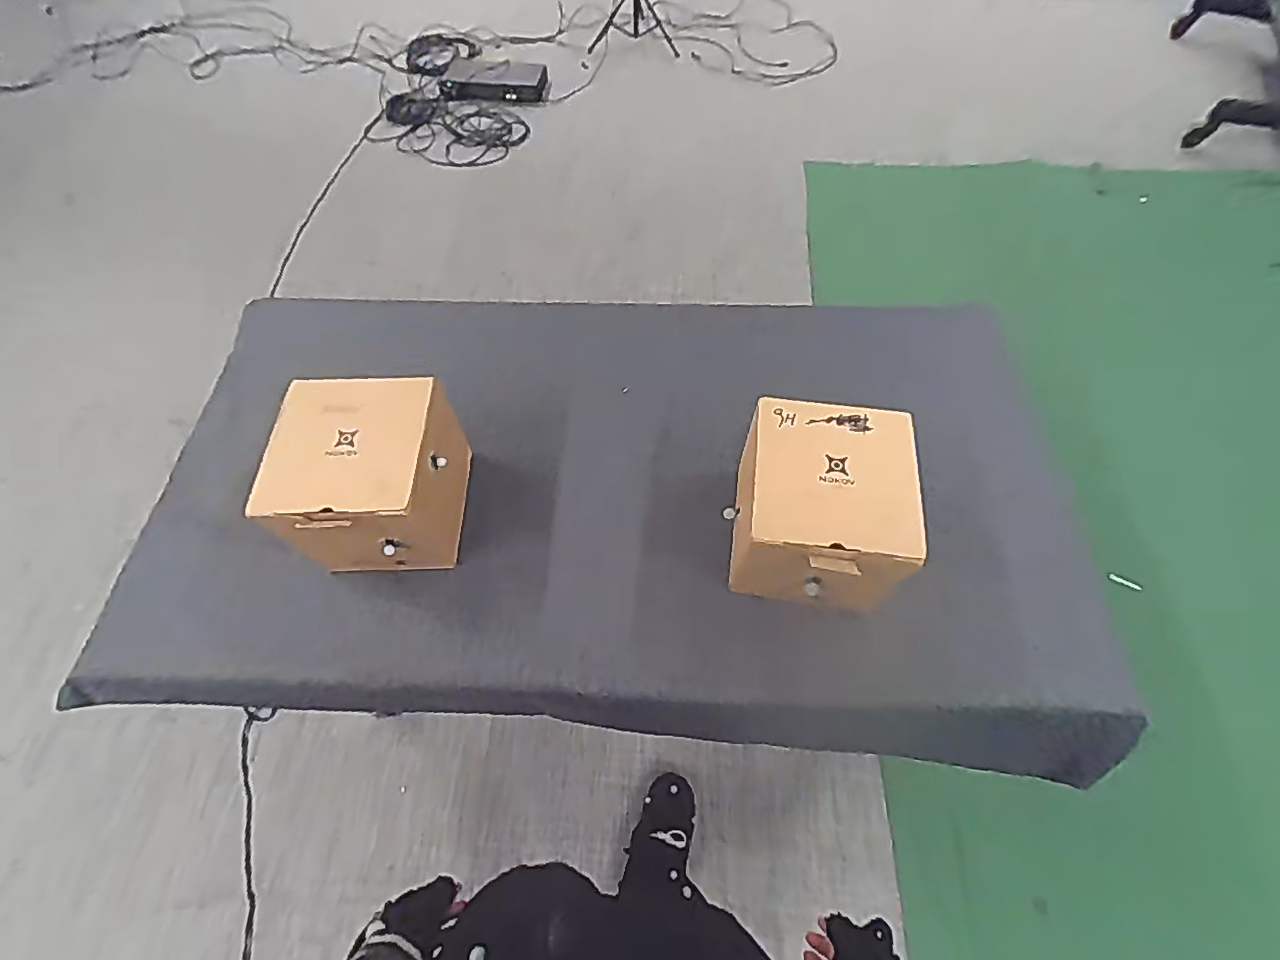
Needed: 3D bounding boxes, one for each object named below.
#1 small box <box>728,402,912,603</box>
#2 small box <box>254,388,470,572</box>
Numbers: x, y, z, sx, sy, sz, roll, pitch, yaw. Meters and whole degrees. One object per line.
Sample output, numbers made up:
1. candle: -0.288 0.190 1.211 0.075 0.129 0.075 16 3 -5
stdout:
1. small box: 0.197 0.034 0.632 0.168 0.176 0.179 7 63 5
2. small box: -0.319 0.009 0.665 0.168 0.176 0.179 -2 60 -1
